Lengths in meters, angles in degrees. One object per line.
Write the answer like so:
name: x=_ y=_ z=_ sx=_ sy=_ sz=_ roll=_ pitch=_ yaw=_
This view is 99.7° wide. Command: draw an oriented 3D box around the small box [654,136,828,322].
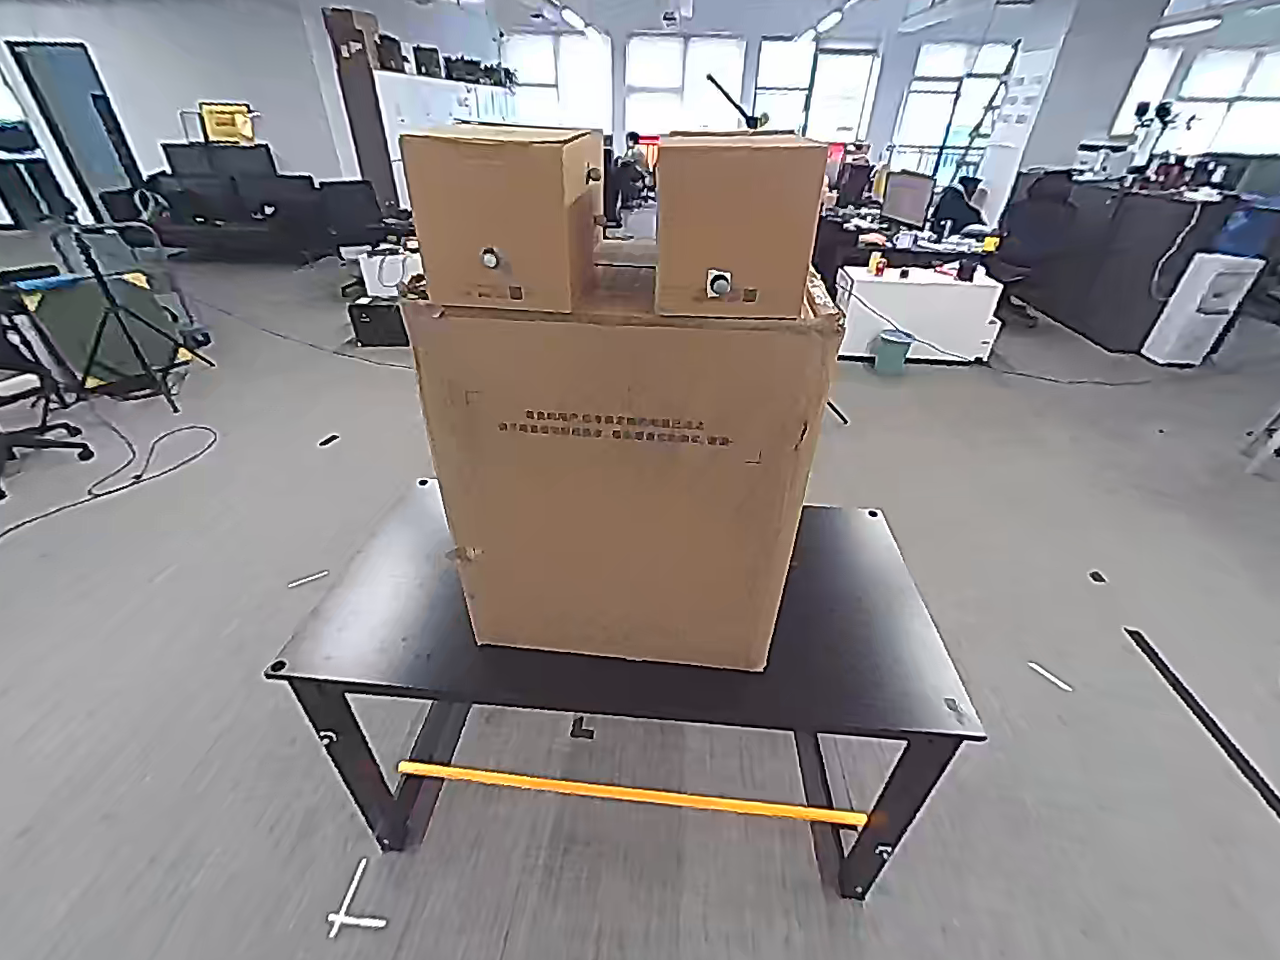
small box: x=0.101 y=-0.294 z=0.626 sx=0.168 sy=0.176 sz=0.179 roll=0 pitch=36 yaw=2

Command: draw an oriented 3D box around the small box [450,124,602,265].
small box: x=-0.155 y=-0.421 z=0.800 sx=0.179 sy=0.176 sz=0.168 roll=5 pitch=34 yaw=4
